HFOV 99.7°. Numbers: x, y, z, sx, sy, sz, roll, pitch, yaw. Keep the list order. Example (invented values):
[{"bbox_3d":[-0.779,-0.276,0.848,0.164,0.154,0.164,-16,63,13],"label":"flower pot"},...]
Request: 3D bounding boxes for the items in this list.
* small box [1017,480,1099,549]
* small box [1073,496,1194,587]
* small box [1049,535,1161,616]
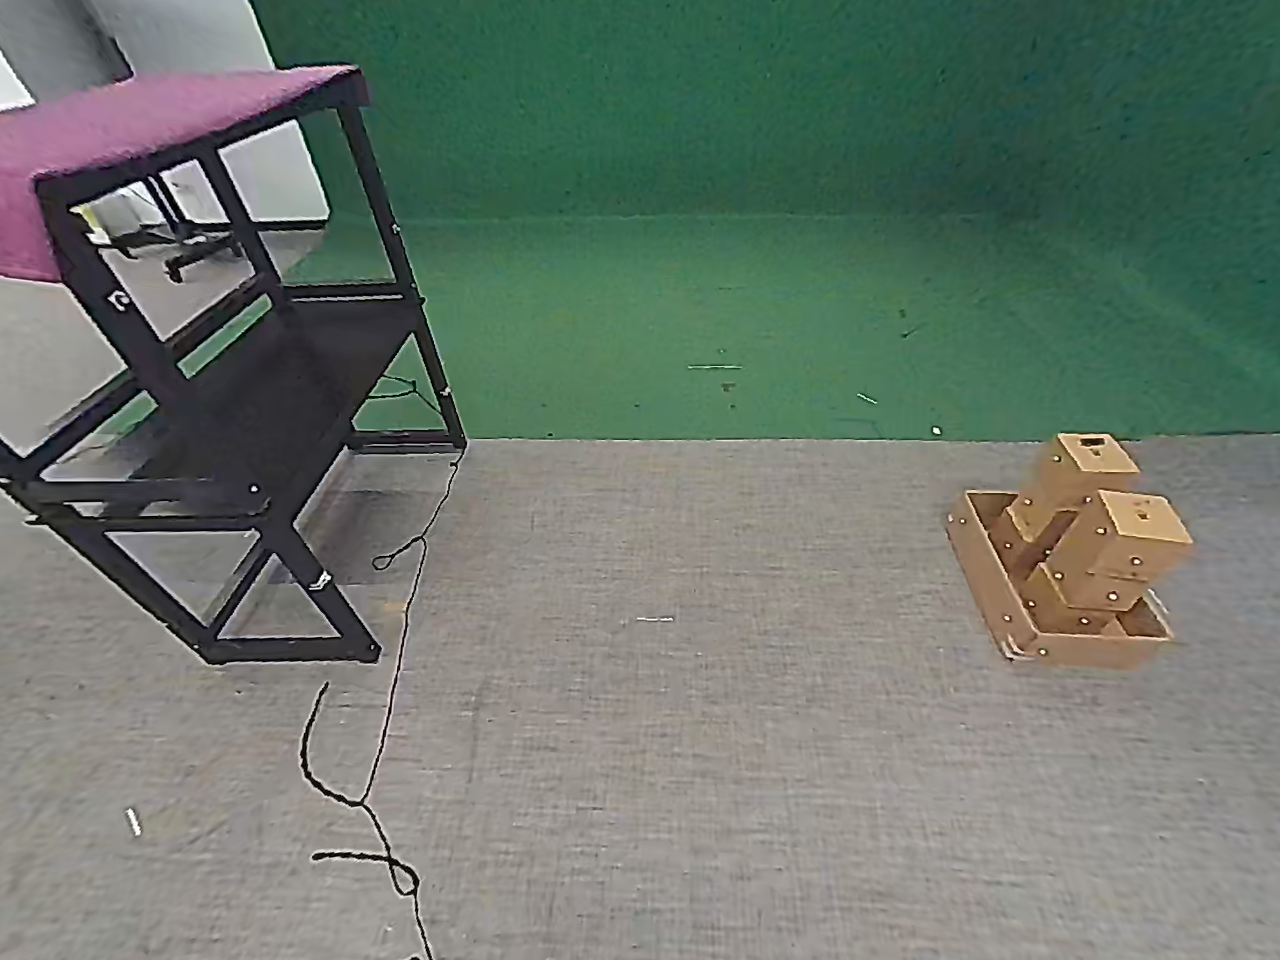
[{"bbox_3d":[1.404,0.118,1.806,0.179,0.176,0.168,0,45,3],"label":"small box"},{"bbox_3d":[1.354,0.171,1.499,0.168,0.176,0.179,8,43,13],"label":"small box"},{"bbox_3d":[1.376,0.287,1.616,0.168,0.176,0.179,3,43,7],"label":"small box"}]
